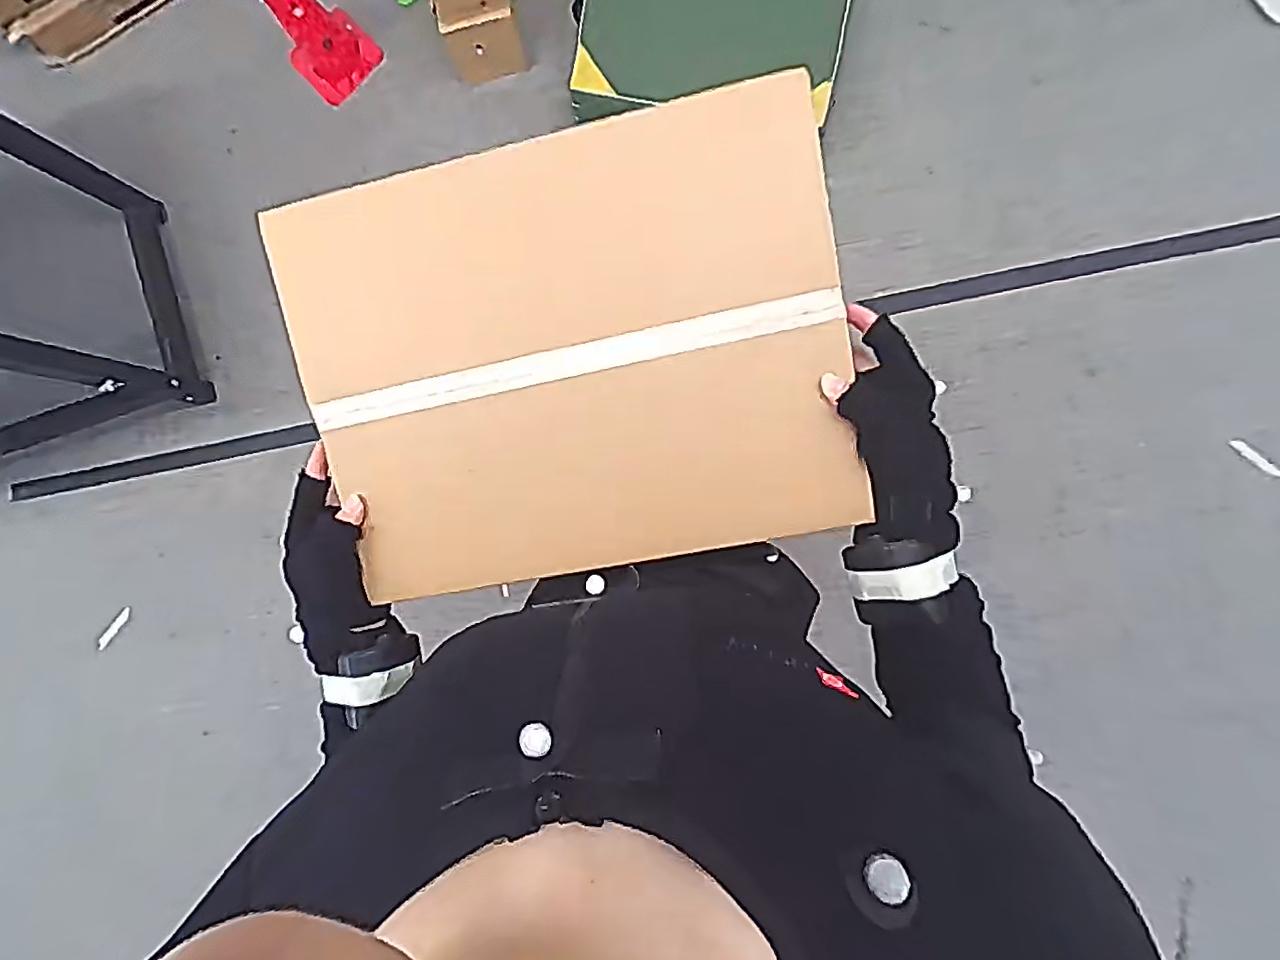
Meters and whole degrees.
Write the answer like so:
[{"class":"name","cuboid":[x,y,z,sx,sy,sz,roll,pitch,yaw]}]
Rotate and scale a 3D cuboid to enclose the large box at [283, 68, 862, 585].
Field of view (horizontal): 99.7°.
[{"class":"large box","cuboid":[-0.042,-0.118,0.557,0.408,0.320,0.320,-10,99,7]}]
